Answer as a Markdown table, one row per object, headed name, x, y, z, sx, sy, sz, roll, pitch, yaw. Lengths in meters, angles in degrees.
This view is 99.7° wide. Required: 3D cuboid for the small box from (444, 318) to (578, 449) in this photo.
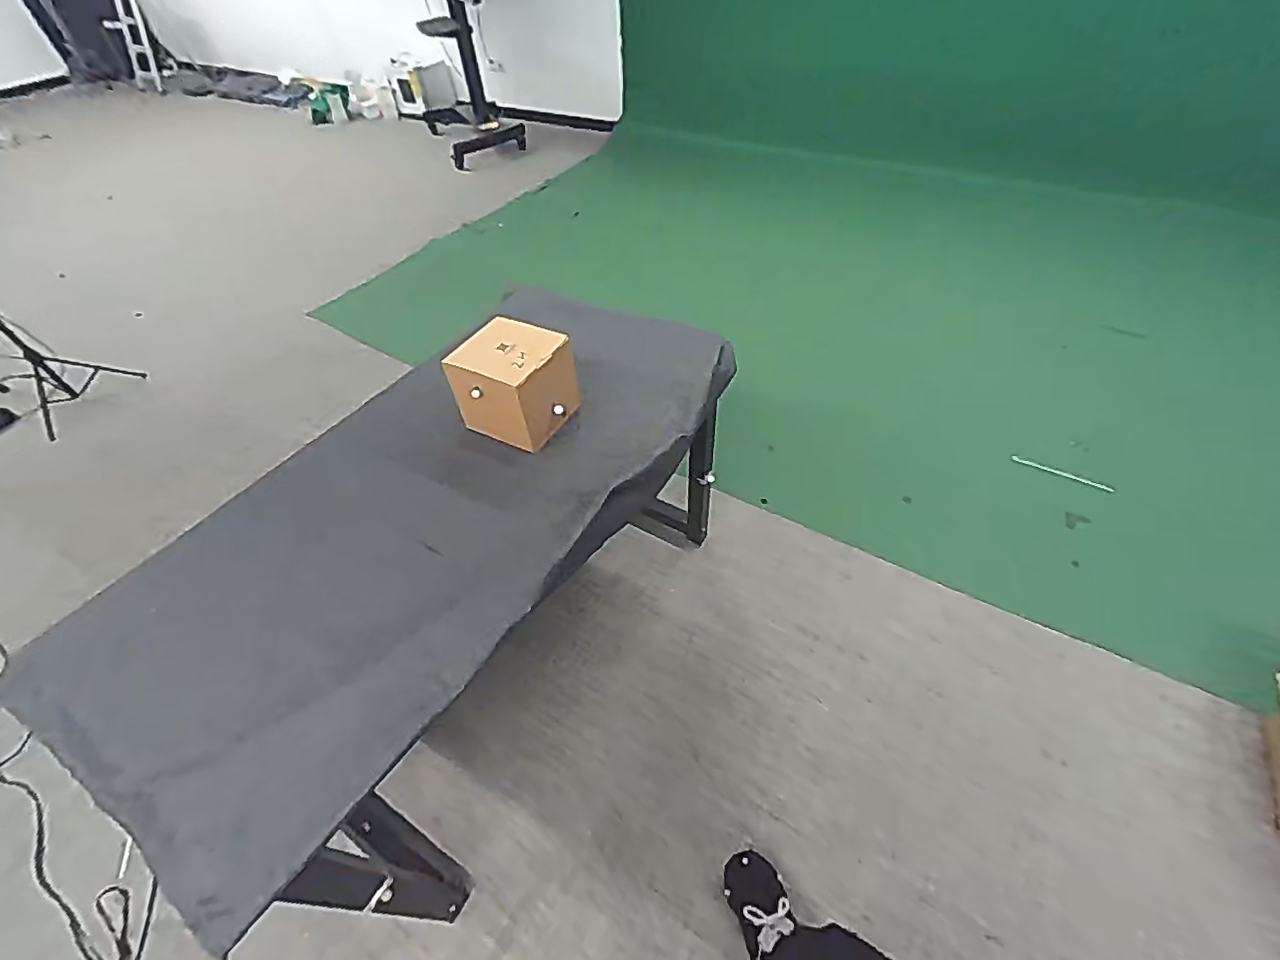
| name | x | y | z | sx | sy | sz | roll | pitch | yaw |
| --- | --- | --- | --- | --- | --- | --- | --- | --- | --- |
| small box | -0.242 | -0.187 | 1.056 | 0.179 | 0.176 | 0.168 | 21 | 54 | 21 |
